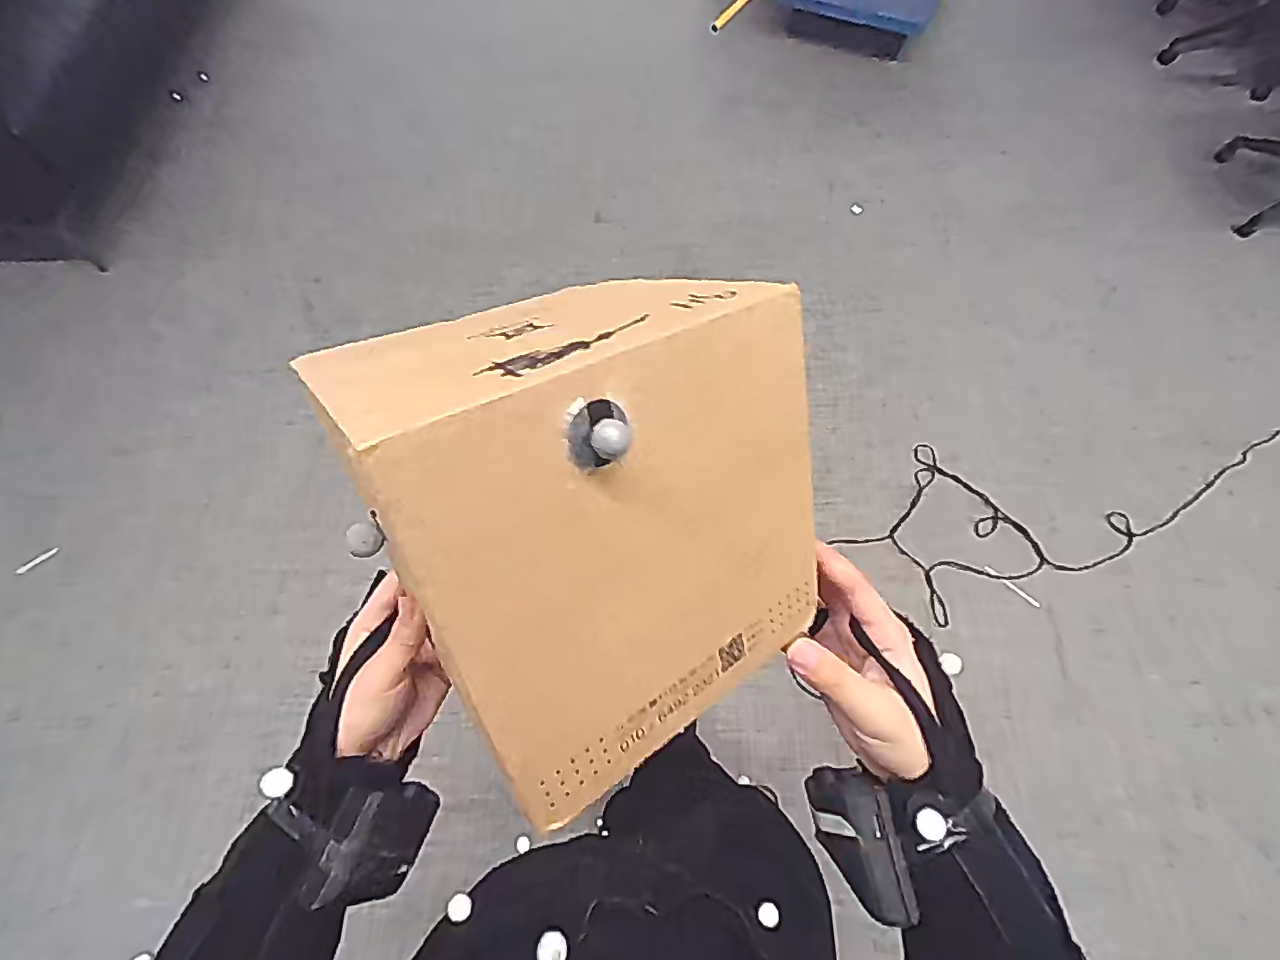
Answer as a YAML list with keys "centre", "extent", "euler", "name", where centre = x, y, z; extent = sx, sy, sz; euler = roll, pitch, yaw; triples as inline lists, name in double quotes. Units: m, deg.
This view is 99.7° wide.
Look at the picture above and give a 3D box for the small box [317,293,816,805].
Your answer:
- centre: [-0.033, 0.012, 0.277]
  extent: [0.168, 0.176, 0.179]
  euler: [-29, 31, -27]
  name: "small box"
